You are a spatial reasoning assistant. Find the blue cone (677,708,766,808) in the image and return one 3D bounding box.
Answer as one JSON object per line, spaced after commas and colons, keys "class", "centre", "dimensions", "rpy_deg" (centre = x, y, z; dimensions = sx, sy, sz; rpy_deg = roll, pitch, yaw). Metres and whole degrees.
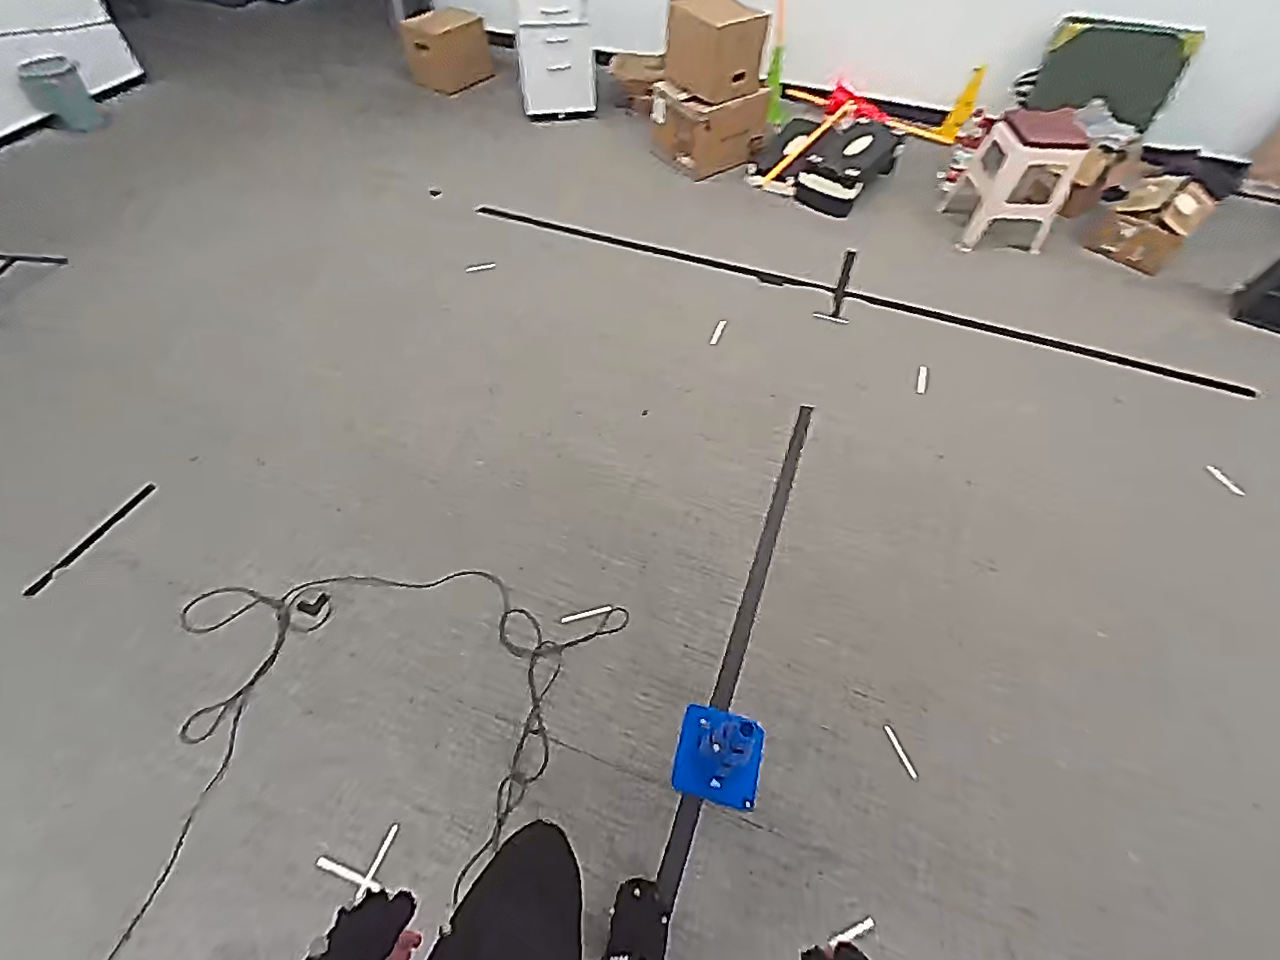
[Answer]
{"class": "blue cone", "centre": [0.201, 0.574, 1.170], "dimensions": [0.192, 0.380, 0.193], "rpy_deg": [17, 57, 8]}
